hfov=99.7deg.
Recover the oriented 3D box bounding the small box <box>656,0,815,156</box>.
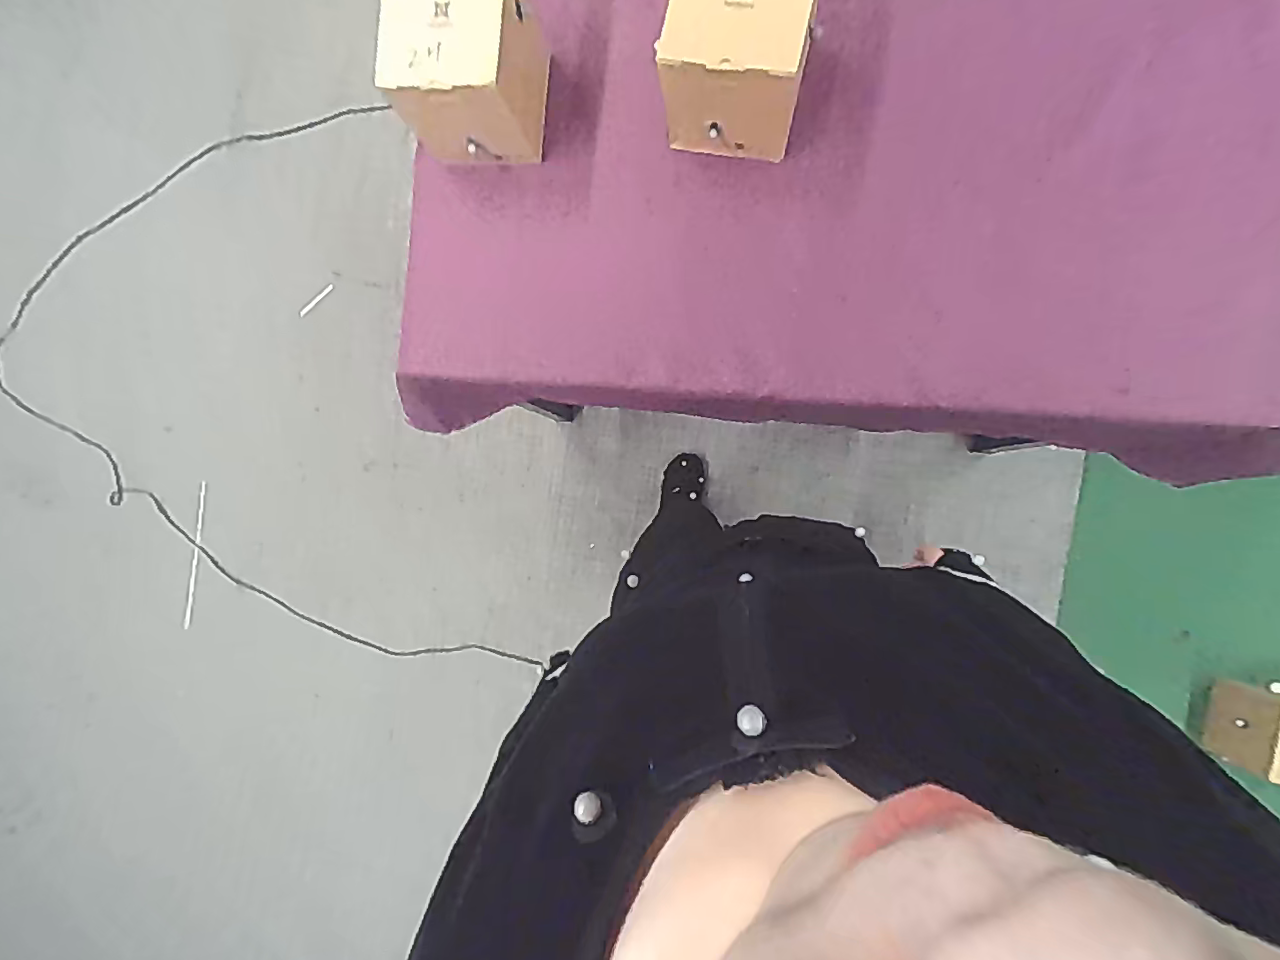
[{"bbox_3d":[0.127,-0.561,0.696,0.168,0.176,0.179,13,93,9],"label":"small box"}]

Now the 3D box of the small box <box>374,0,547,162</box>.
[{"bbox_3d":[-0.237,-0.579,0.751,0.168,0.176,0.179,6,91,9],"label":"small box"}]

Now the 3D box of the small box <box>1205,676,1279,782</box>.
[{"bbox_3d":[1.435,0.566,1.208,0.168,0.176,0.179,11,90,9],"label":"small box"}]
